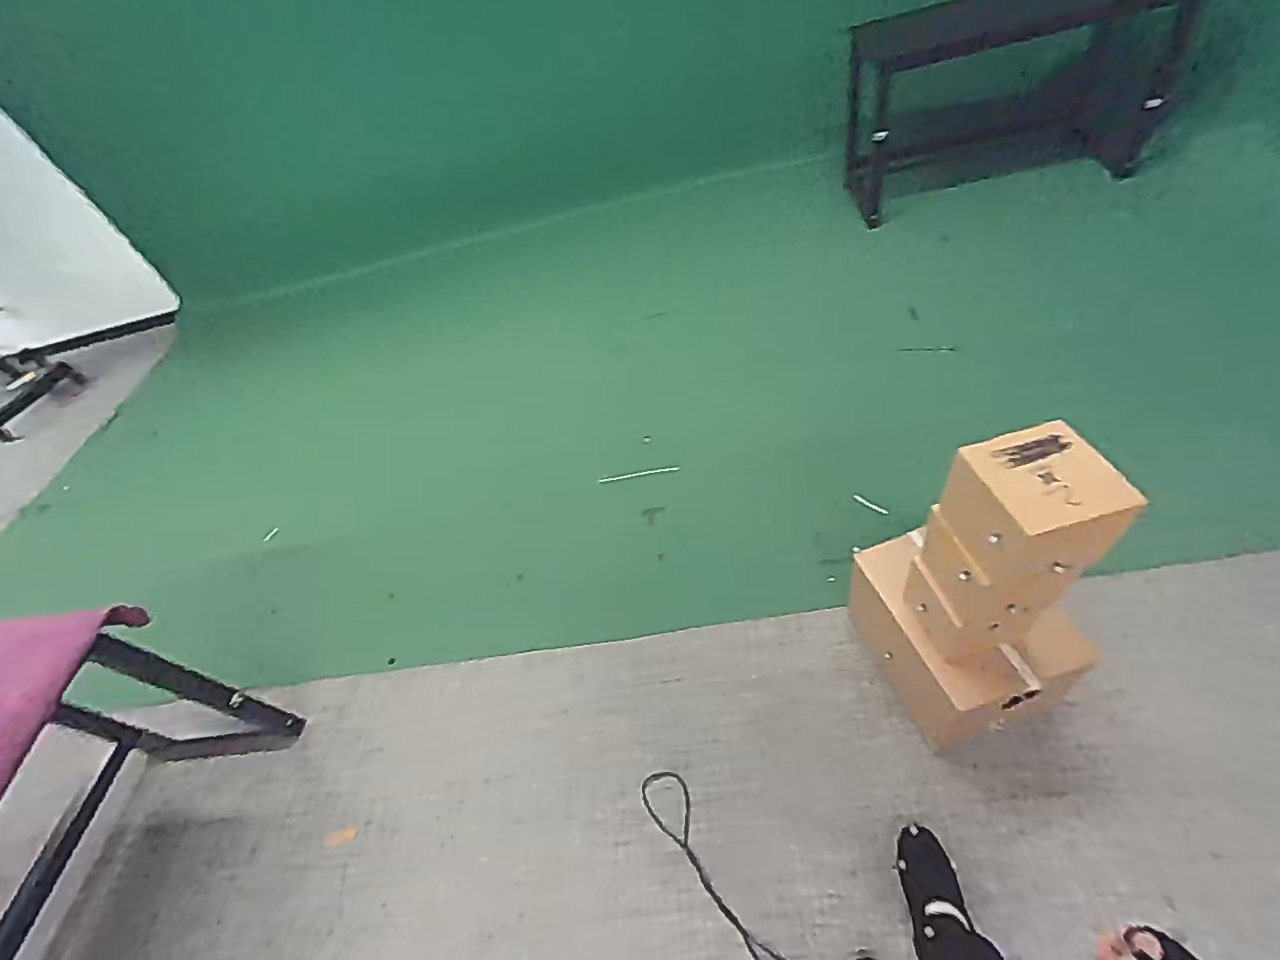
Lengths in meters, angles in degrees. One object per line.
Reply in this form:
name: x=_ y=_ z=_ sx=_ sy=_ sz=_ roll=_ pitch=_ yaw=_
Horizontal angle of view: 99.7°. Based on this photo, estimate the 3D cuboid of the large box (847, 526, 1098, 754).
large box: x=0.747 y=0.368 z=1.304 sx=0.320 sy=0.320 sz=0.408 roll=-20 pitch=46 yaw=-2

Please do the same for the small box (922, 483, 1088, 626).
small box: x=0.641 y=0.138 z=0.982 sx=0.168 sy=0.176 sz=0.179 roll=-15 pitch=48 yaw=4

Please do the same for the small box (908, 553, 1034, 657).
small box: x=0.670 y=0.240 z=1.104 sx=0.179 sy=0.176 sz=0.168 roll=-16 pitch=48 yaw=3
